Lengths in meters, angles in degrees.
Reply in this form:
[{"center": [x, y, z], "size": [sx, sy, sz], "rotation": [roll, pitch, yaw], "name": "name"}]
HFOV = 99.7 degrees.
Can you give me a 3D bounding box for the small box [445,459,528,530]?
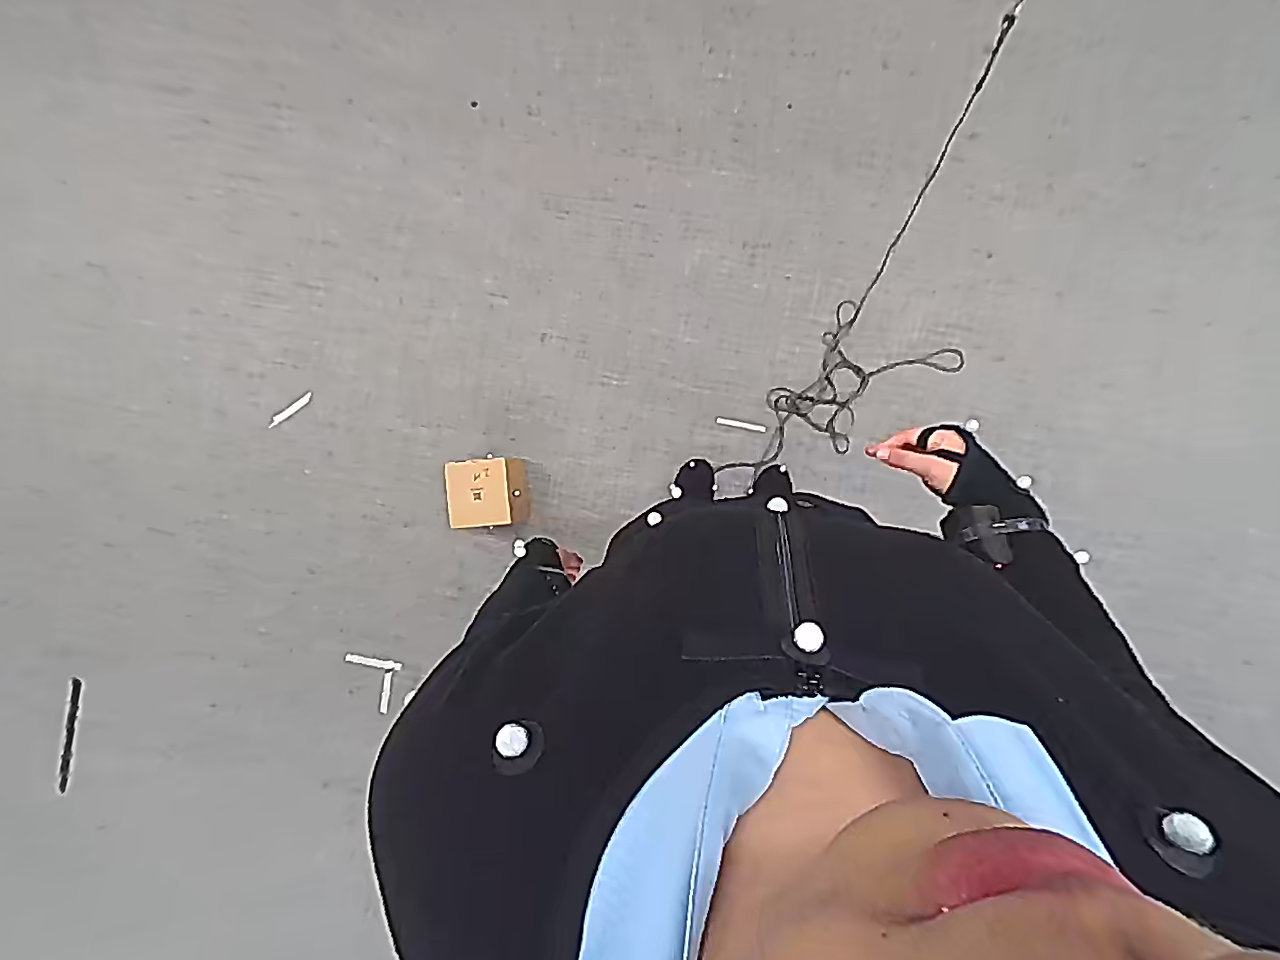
[{"center": [-0.411, 0.036, 1.472], "size": [0.168, 0.176, 0.179], "rotation": [-5, 90, 5], "name": "small box"}]
